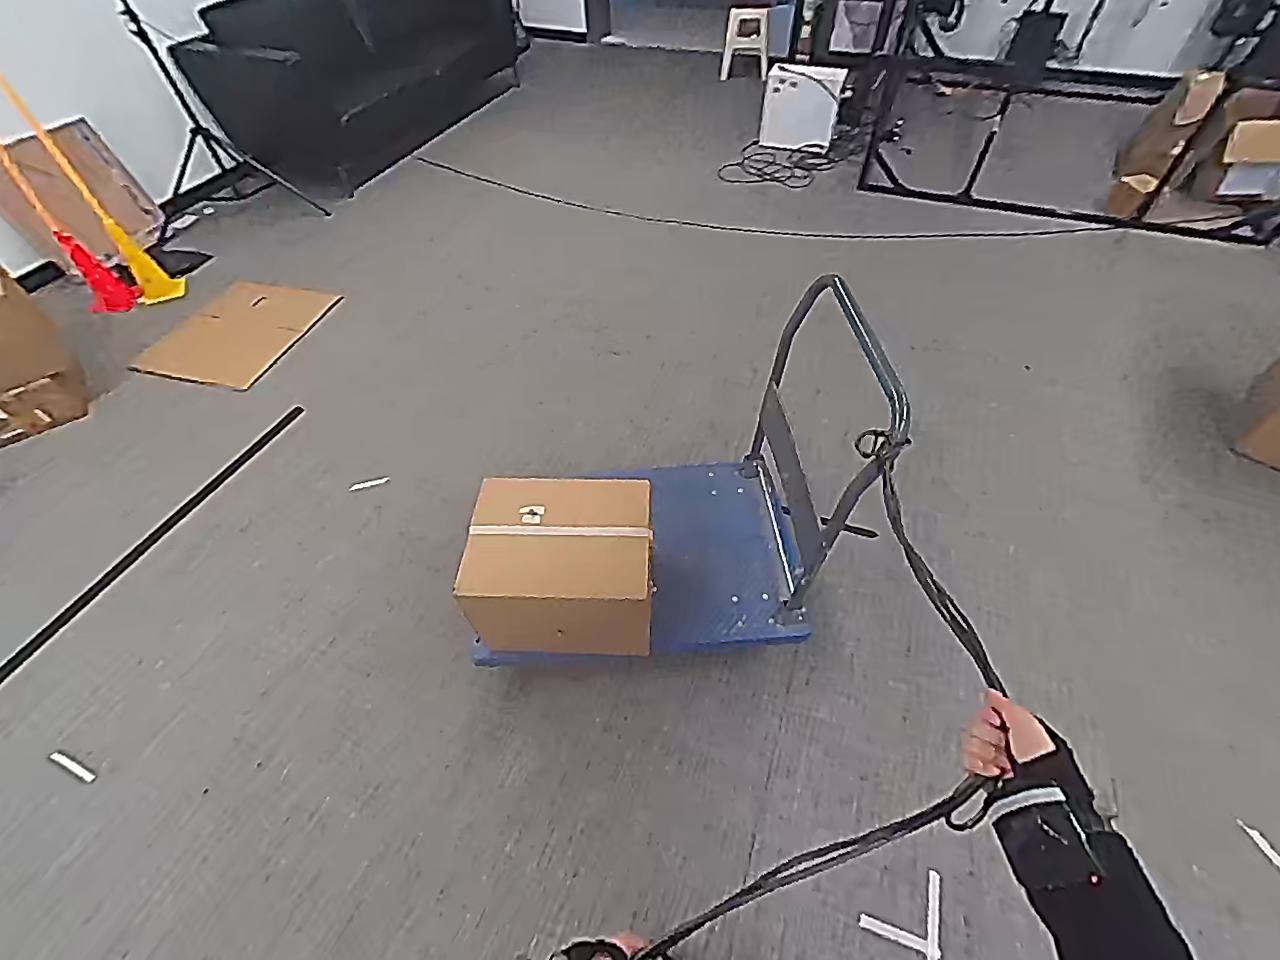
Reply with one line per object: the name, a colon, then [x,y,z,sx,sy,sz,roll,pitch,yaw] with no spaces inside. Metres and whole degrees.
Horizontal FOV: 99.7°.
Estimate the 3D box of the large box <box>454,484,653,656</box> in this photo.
large box: [-0.175,0.223,1.303,0.408,0.320,0.320,0,50,3]
